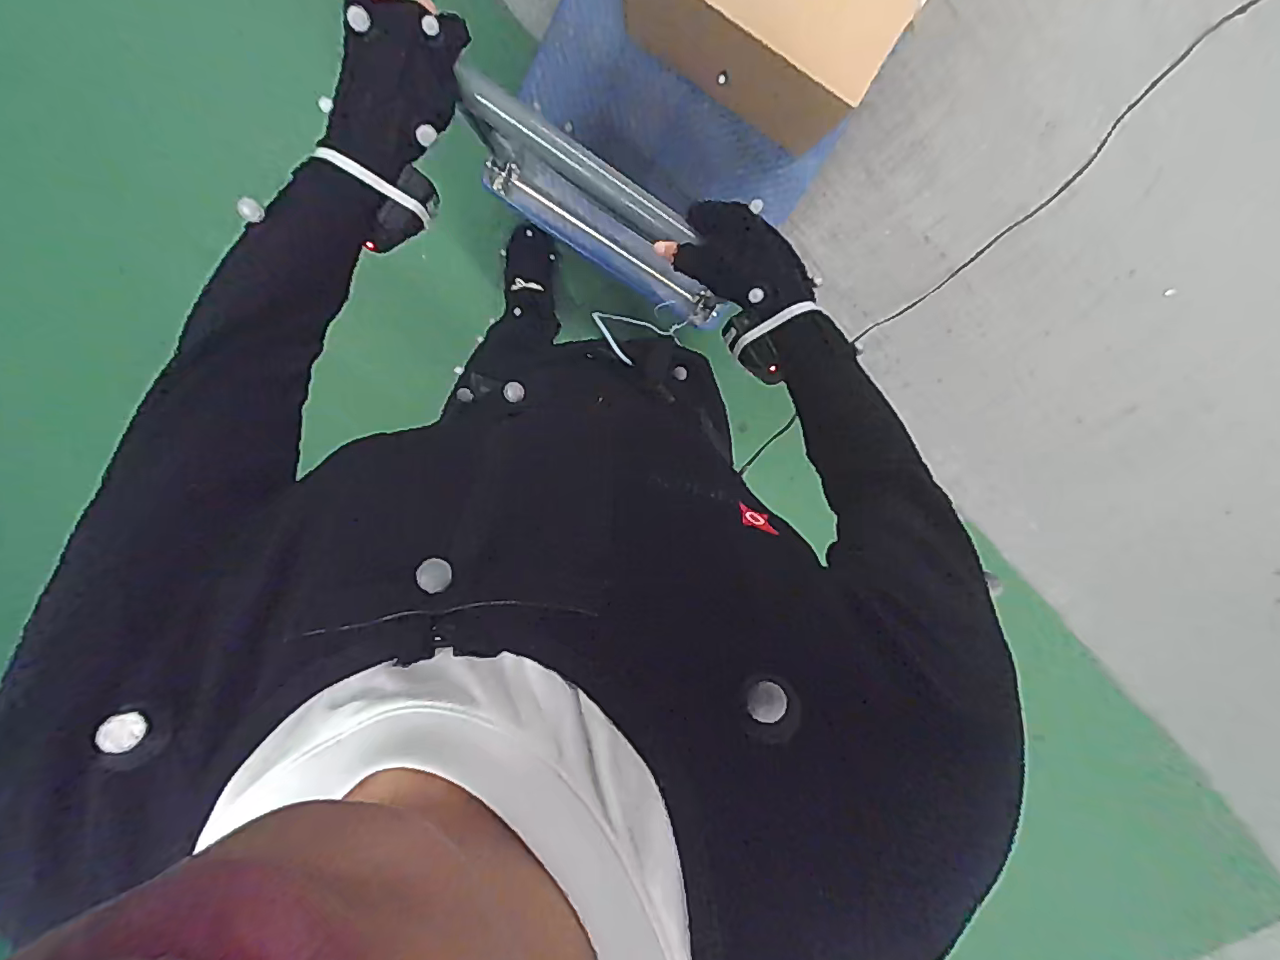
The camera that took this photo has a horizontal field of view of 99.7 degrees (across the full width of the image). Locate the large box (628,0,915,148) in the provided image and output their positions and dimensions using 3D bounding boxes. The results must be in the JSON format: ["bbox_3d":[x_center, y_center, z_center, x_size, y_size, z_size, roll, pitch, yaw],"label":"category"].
[{"bbox_3d":[0.224,-0.822,0.870,0.408,0.320,0.320,28,106,-8],"label":"large box"}]
